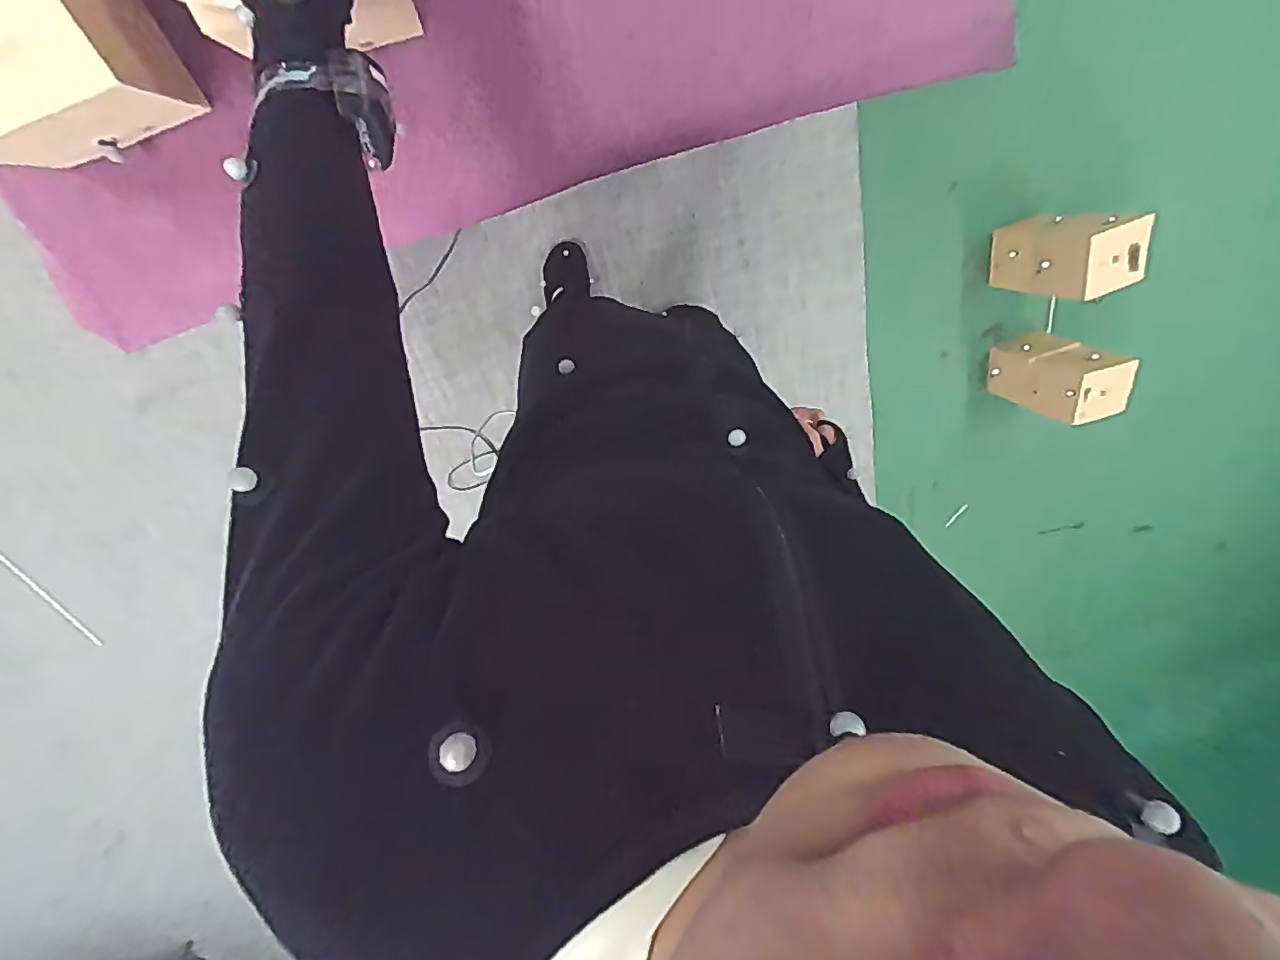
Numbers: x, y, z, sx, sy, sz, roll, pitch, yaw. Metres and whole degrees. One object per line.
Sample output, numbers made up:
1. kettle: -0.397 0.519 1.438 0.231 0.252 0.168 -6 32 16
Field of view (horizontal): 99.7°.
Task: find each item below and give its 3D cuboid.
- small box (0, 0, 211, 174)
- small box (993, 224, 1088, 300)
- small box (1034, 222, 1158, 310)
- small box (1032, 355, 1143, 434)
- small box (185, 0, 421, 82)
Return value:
1. small box: -0.548 -0.395 0.480 0.168 0.176 0.179 -23 120 0
2. small box: 1.173 -0.640 1.580 0.179 0.176 0.168 -18 119 -4
3. small box: 1.197 -0.572 1.431 0.179 0.176 0.168 -20 118 -1
4. small box: 1.329 -0.262 1.618 0.179 0.176 0.168 -16 119 -5
5. small box: -0.318 -0.492 0.482 0.168 0.176 0.179 -18 119 -3
